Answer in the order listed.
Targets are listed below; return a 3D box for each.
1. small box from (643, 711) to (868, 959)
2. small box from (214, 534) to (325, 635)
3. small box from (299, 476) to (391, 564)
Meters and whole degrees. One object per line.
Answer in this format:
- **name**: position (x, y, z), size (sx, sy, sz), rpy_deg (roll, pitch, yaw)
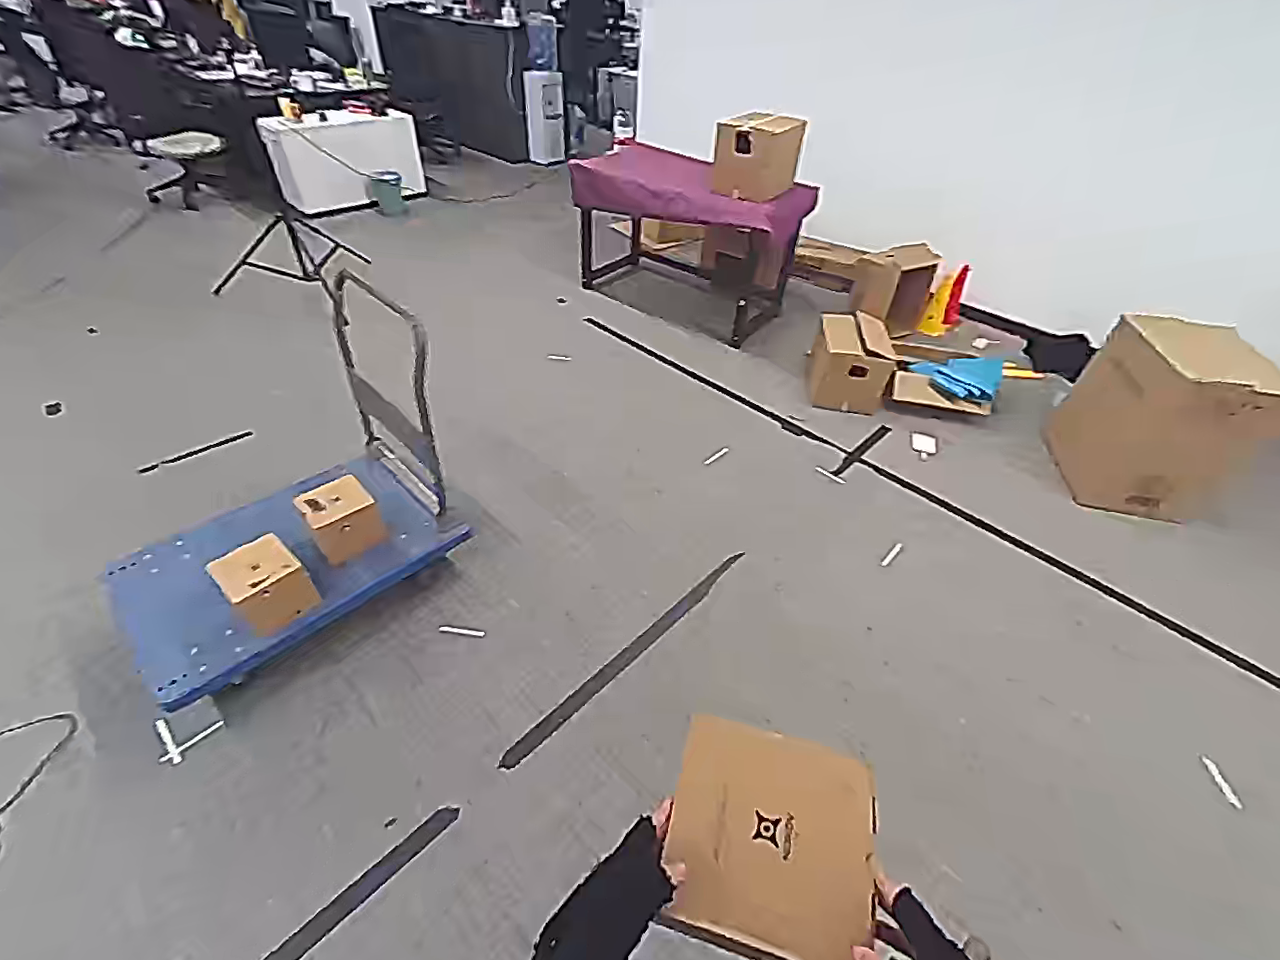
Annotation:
- **small box**: position (0.108, 0.357, 0.528), size (0.179, 0.176, 0.168), rpy_deg (10, 48, 12)
- **small box**: position (-0.997, 0.285, 1.465), size (0.179, 0.176, 0.168), rpy_deg (31, 49, 28)
- **small box**: position (-0.895, 0.124, 1.650), size (0.179, 0.176, 0.168), rpy_deg (-31, 53, -33)
